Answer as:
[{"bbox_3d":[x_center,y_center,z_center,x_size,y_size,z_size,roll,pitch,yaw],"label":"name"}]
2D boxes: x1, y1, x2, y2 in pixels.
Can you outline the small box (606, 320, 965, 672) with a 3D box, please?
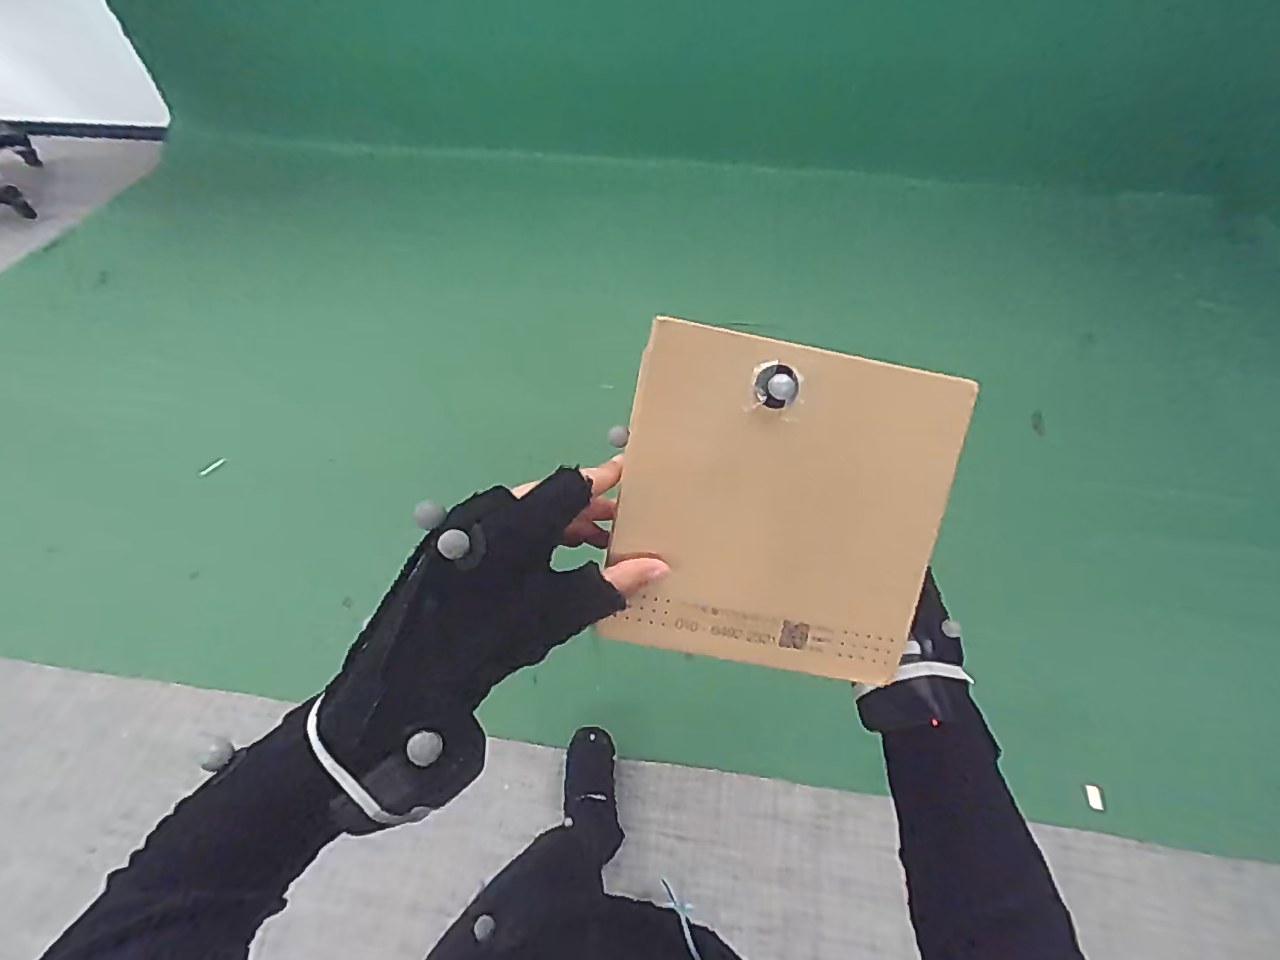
[{"bbox_3d":[0.073,0.004,0.371,0.168,0.179,0.176,11,98,-3],"label":"small box"}]
